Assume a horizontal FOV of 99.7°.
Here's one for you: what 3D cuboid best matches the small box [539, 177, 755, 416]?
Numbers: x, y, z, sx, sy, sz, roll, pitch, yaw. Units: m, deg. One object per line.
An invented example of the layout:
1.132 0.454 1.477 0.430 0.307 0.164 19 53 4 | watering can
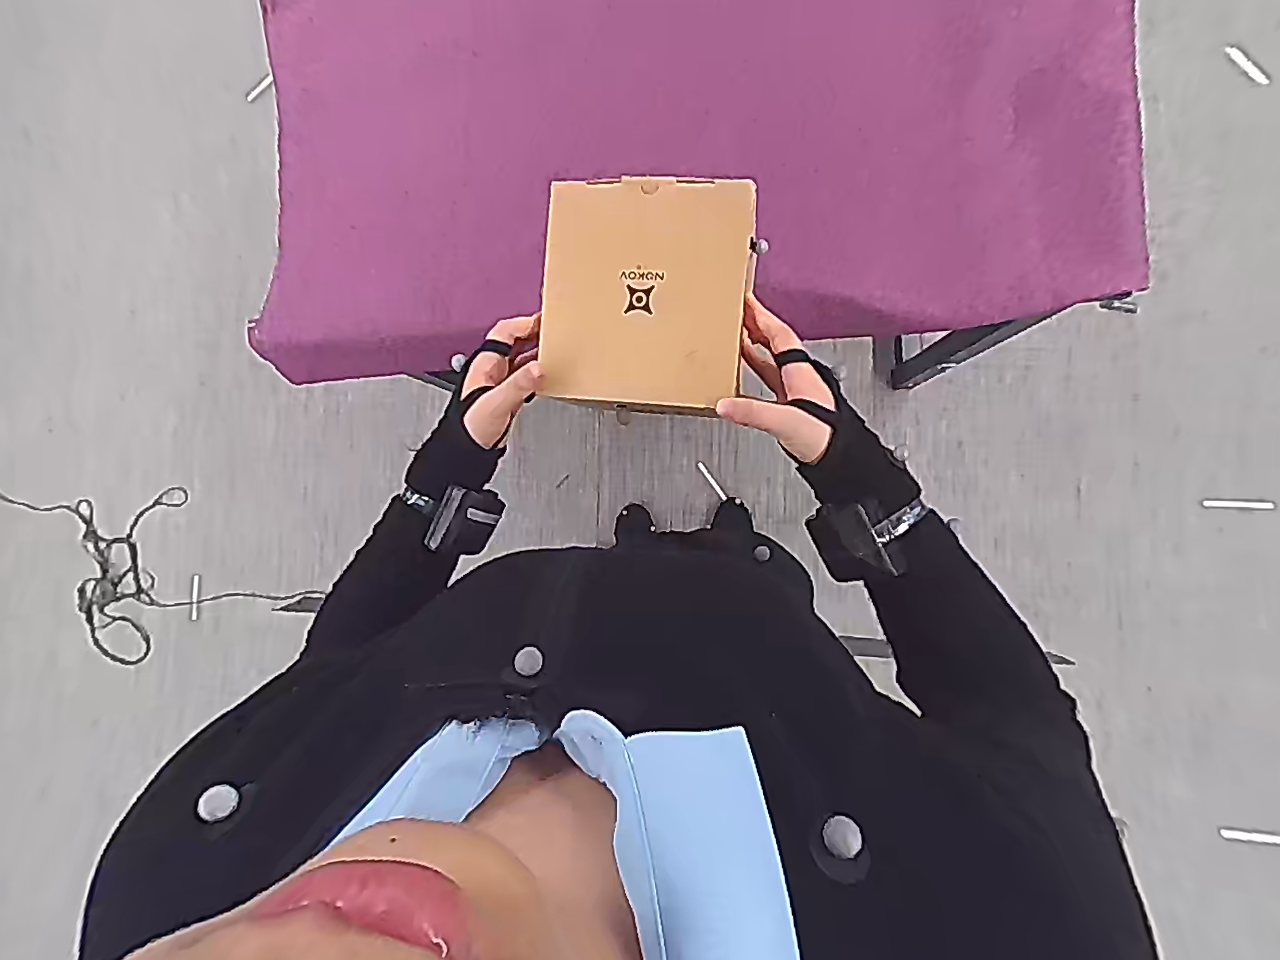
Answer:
0.018 -0.155 0.509 0.168 0.176 0.179 5 93 11 | small box
